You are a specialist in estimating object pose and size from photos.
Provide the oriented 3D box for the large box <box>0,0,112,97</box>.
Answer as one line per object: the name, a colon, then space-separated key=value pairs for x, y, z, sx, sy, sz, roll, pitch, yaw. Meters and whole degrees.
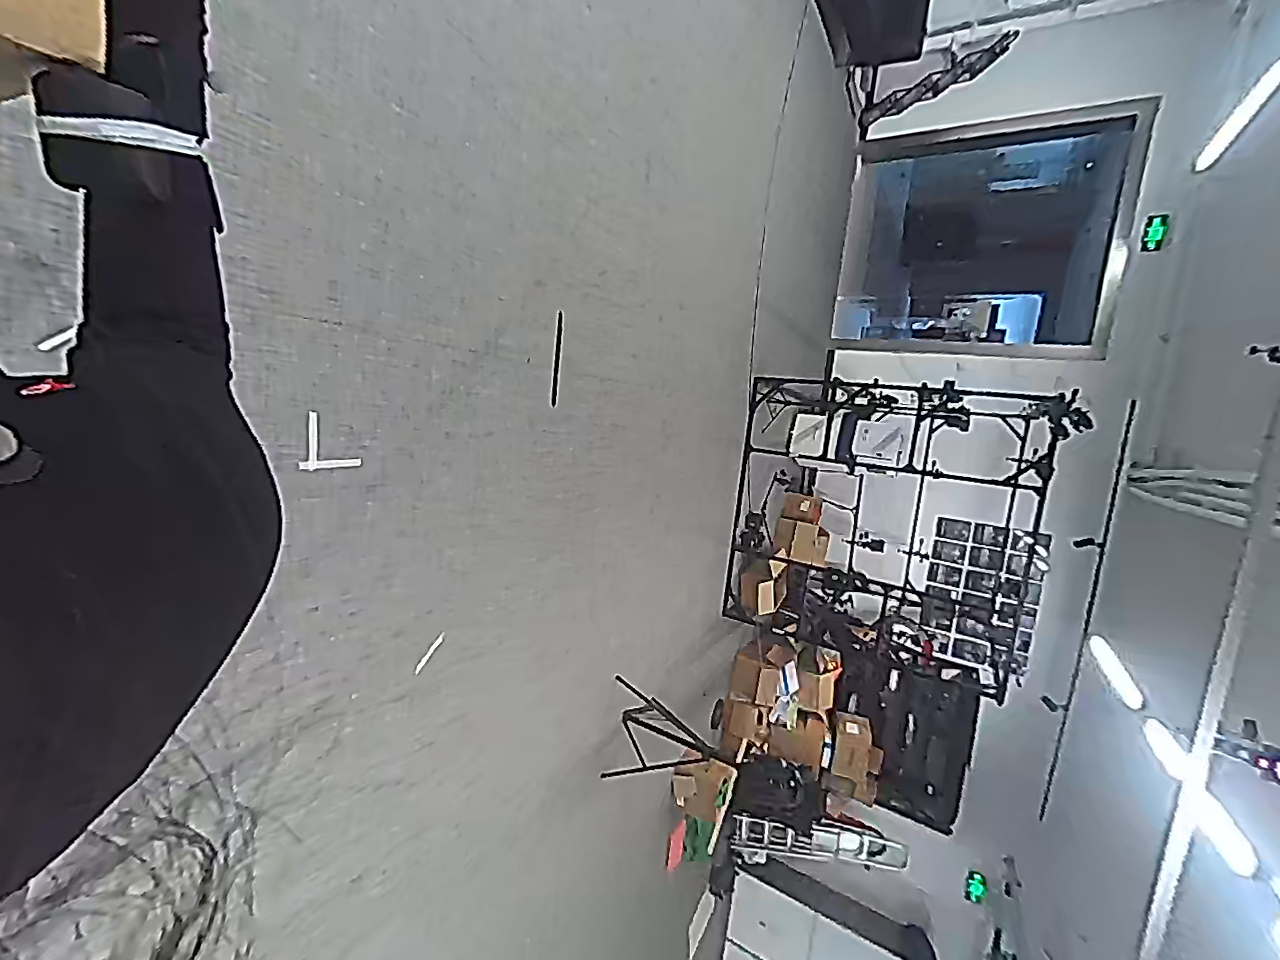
large box: x=-0.535 y=-0.411 z=0.205 sx=0.408 sy=0.320 sz=0.320 roll=-12 pitch=116 yaw=-60
